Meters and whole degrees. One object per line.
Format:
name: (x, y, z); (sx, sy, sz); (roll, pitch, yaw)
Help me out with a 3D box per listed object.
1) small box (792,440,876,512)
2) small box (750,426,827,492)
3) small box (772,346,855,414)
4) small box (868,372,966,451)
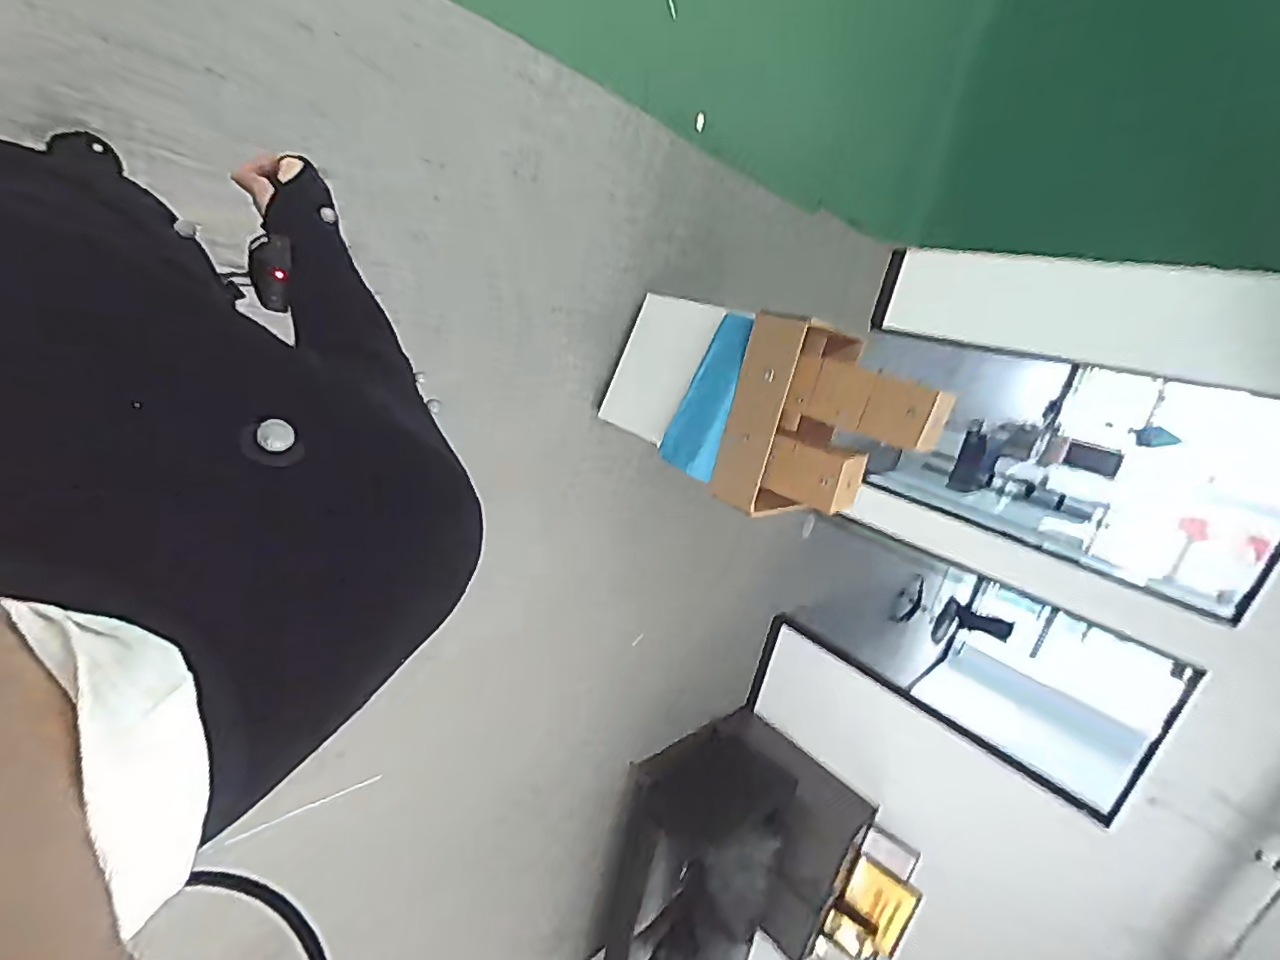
small box: (0.595, -0.021, 1.674); (0.168, 0.176, 0.179); (-10, 118, -43)
small box: (0.484, -0.077, 1.779); (0.168, 0.176, 0.179); (-8, 116, -44)
small box: (0.544, -0.317, 1.711); (0.168, 0.176, 0.179); (-5, 117, -45)
small box: (0.764, -0.190, 1.502); (0.168, 0.176, 0.179); (-3, 116, -45)
